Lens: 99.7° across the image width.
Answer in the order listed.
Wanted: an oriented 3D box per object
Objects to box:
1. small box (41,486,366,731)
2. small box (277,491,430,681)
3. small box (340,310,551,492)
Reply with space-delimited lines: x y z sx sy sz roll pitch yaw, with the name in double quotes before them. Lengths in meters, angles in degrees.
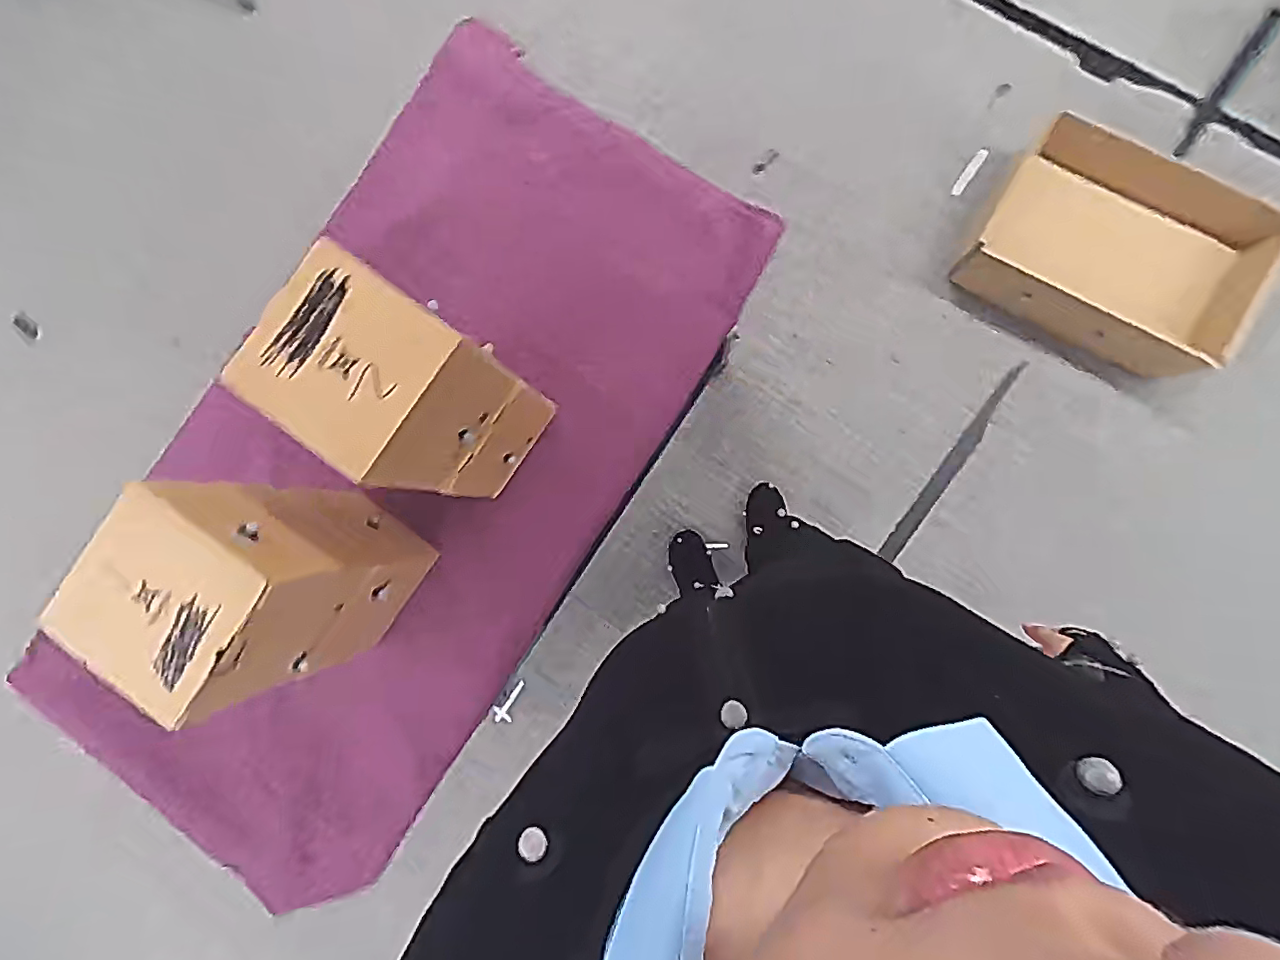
"small box" -0.440 0.120 0.578 0.179 0.176 0.168 33 90 6
"small box" -0.420 0.133 0.741 0.168 0.176 0.179 35 90 6
"small box" -0.250 -0.092 0.738 0.179 0.176 0.168 35 91 6
